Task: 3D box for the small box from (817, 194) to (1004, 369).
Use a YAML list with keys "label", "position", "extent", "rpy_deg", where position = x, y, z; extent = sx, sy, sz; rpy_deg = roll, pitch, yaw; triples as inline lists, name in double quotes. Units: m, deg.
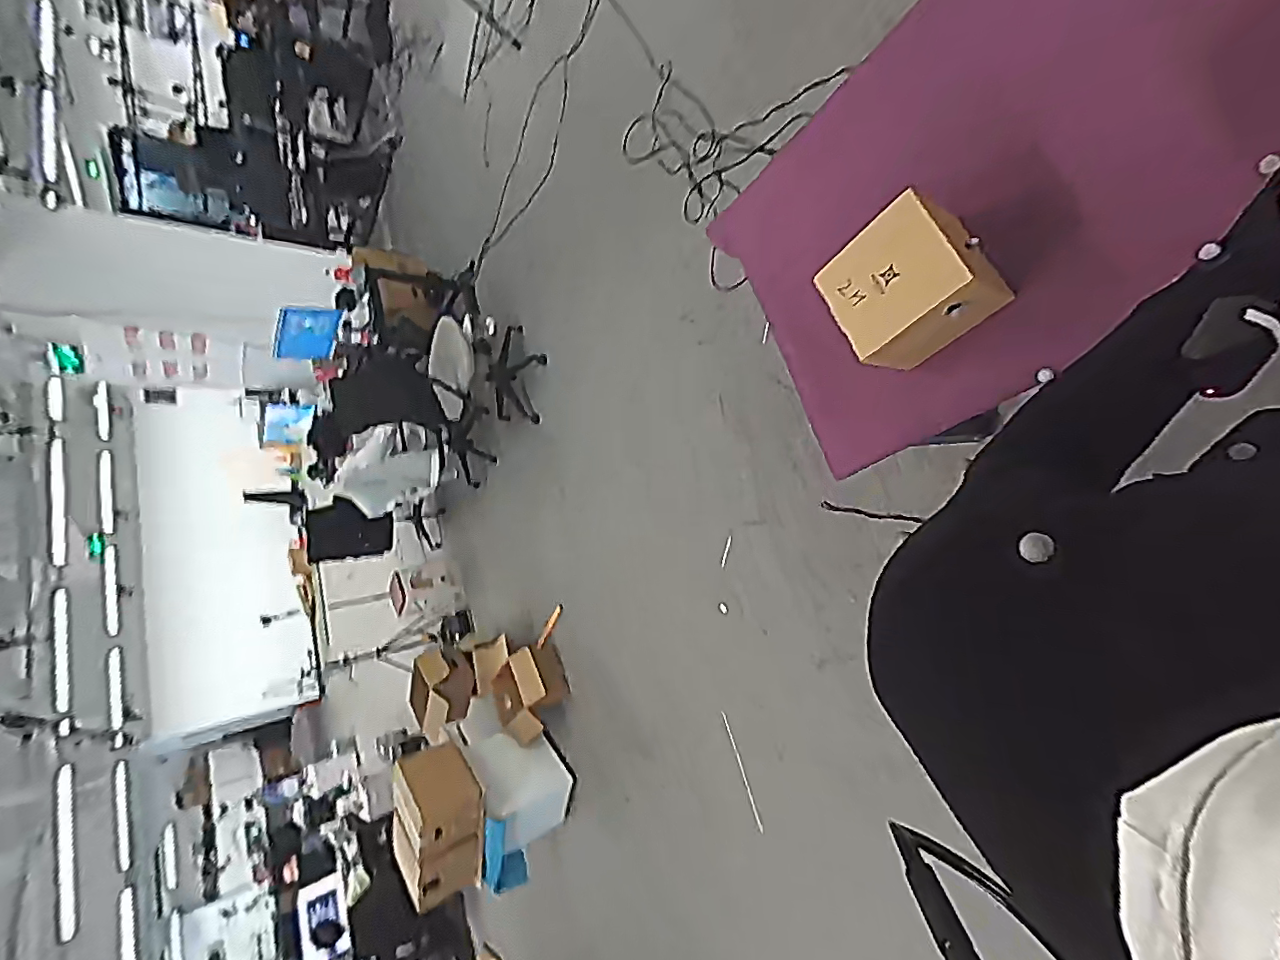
- label: "small box"
  position: [0.414, -0.288, 0.822]
  extent: [0.179, 0.176, 0.168]
  rpy_deg: [-41, 63, 45]
